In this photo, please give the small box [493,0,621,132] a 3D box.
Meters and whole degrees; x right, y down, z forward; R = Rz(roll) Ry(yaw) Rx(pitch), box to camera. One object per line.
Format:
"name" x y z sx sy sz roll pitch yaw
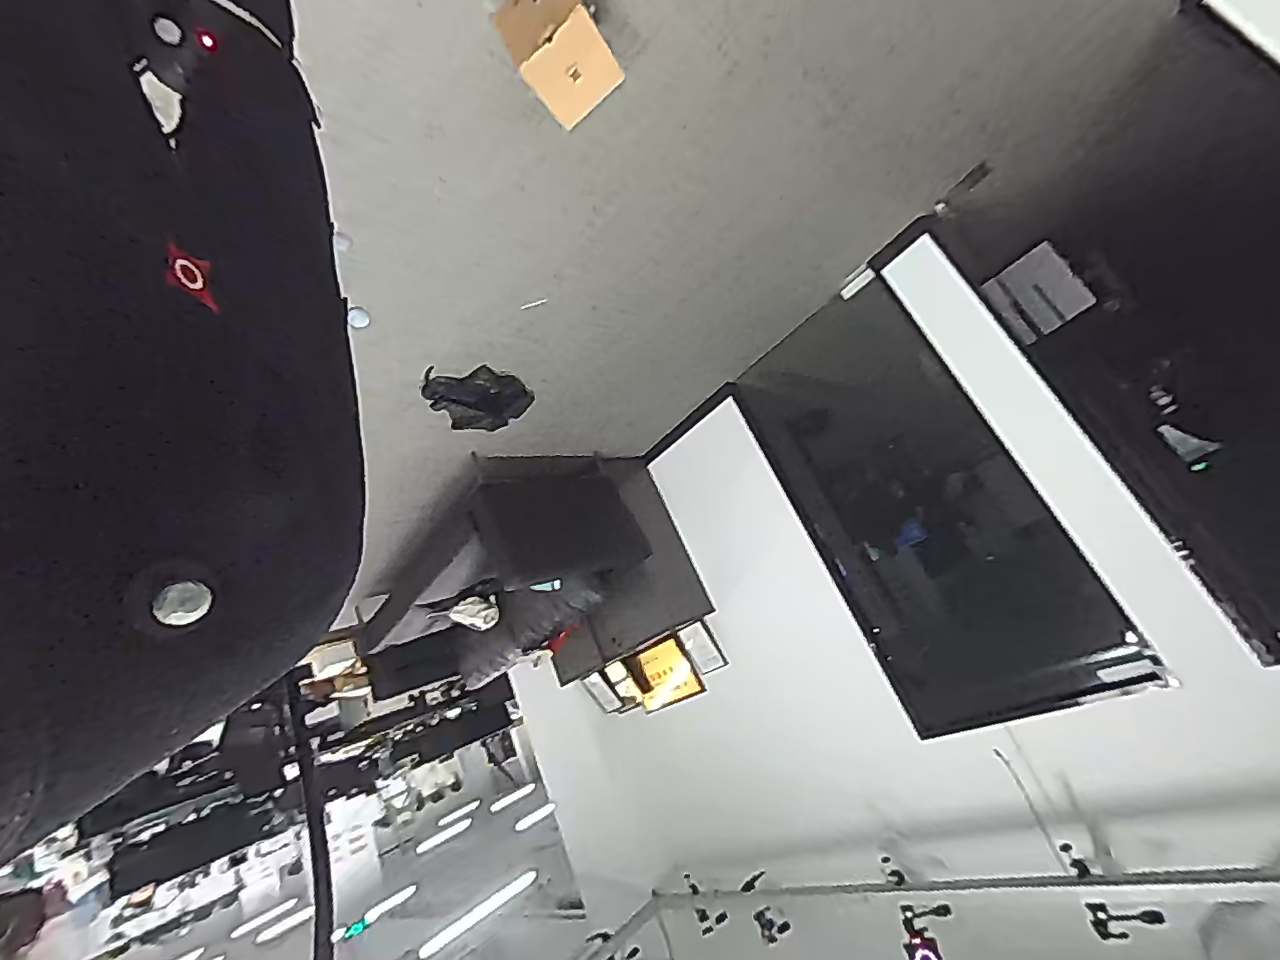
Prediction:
"small box" -0.170 -0.885 1.114 0.168 0.176 0.179 -31 160 20
